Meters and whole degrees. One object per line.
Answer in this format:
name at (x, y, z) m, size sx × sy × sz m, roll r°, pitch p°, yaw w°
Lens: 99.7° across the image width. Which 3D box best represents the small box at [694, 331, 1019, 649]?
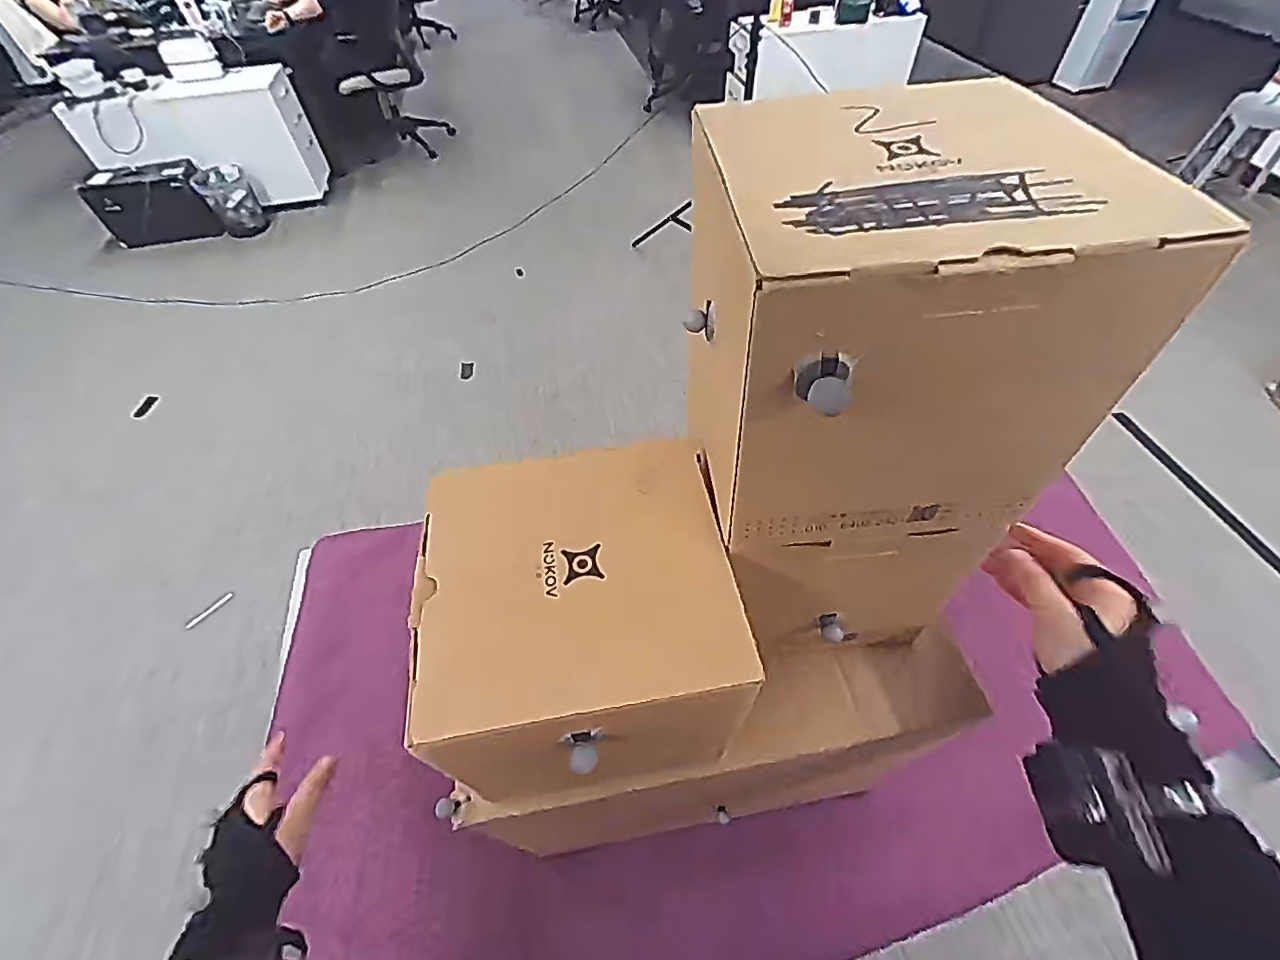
small box at (0.133, 0.011, 0.420) m, size 0.168 × 0.176 × 0.179 m, roll -6°, pitch 51°, yaw 1°
